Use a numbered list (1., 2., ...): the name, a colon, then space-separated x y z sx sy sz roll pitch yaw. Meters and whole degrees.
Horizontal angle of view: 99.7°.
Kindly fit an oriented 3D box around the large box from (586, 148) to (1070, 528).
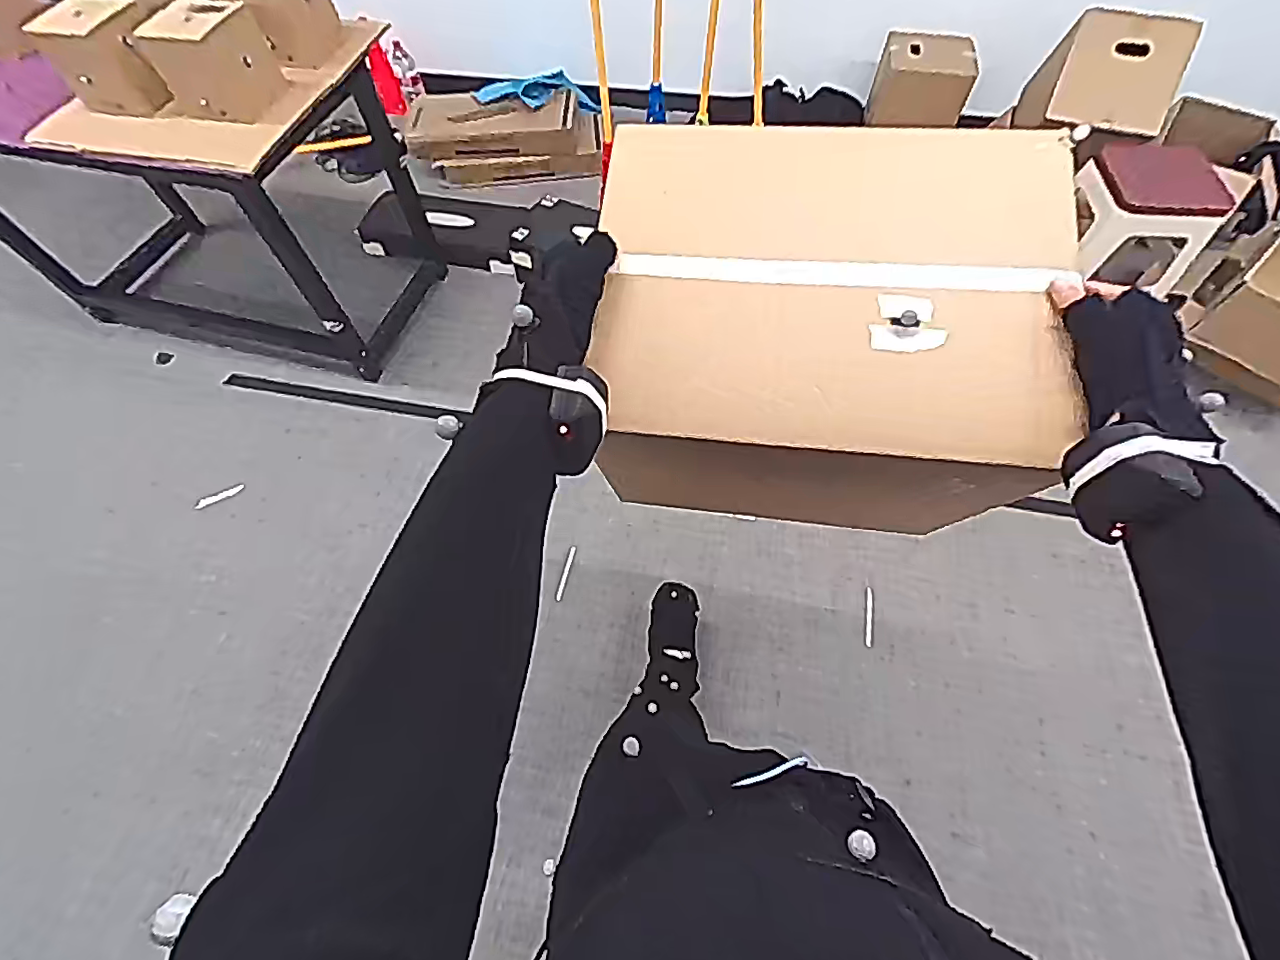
1. large box: 0.177 -0.135 0.630 0.408 0.320 0.320 6 77 7
